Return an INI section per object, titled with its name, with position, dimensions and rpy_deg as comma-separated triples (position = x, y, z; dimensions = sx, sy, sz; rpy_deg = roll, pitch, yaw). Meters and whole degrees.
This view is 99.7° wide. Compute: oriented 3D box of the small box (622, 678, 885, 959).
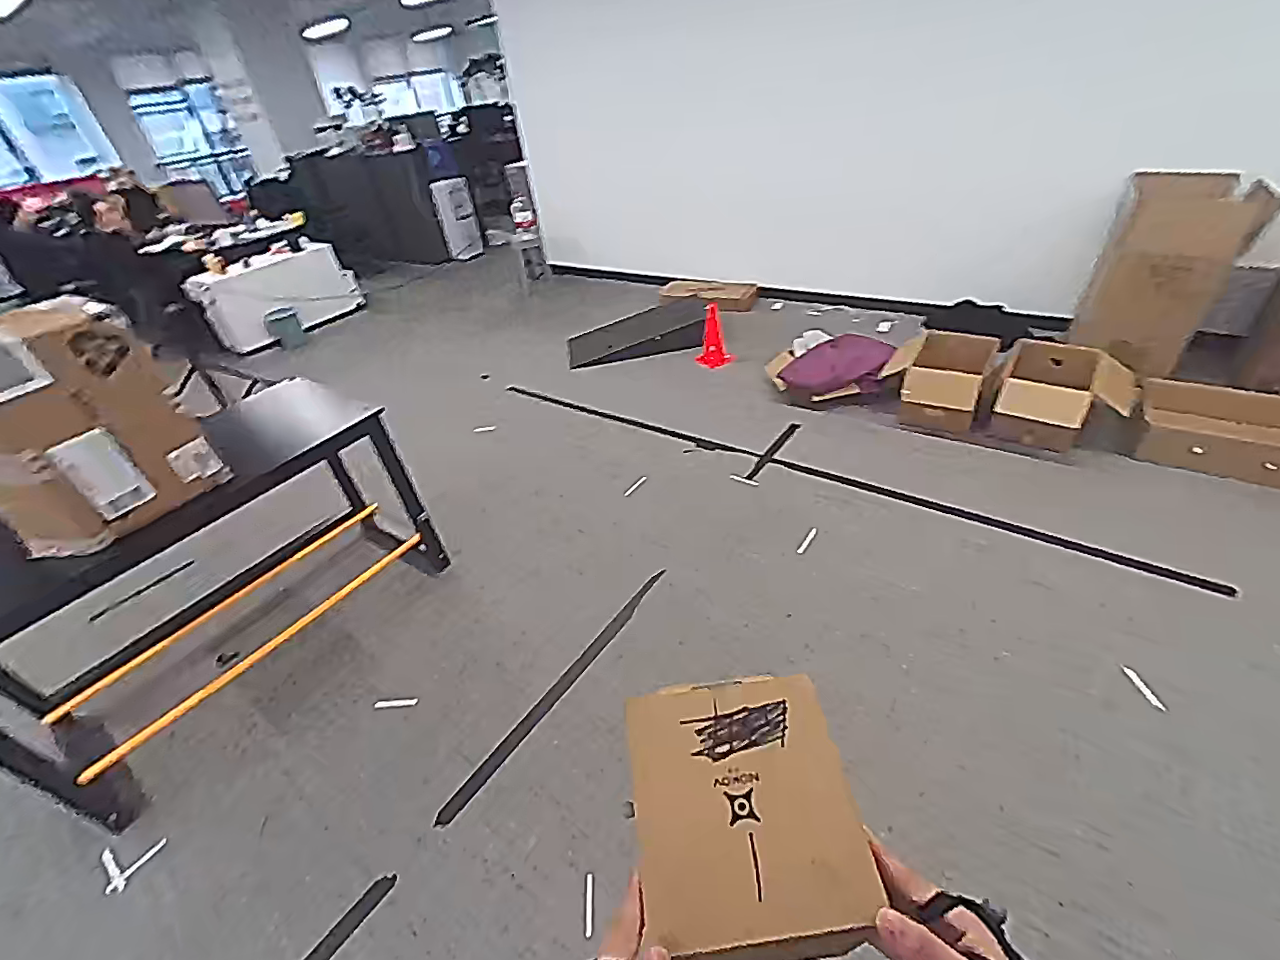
[small box]
position = 0.077, 0.301, 0.469
dimensions = 0.168, 0.176, 0.179
rpy_deg = -8, 44, -3
